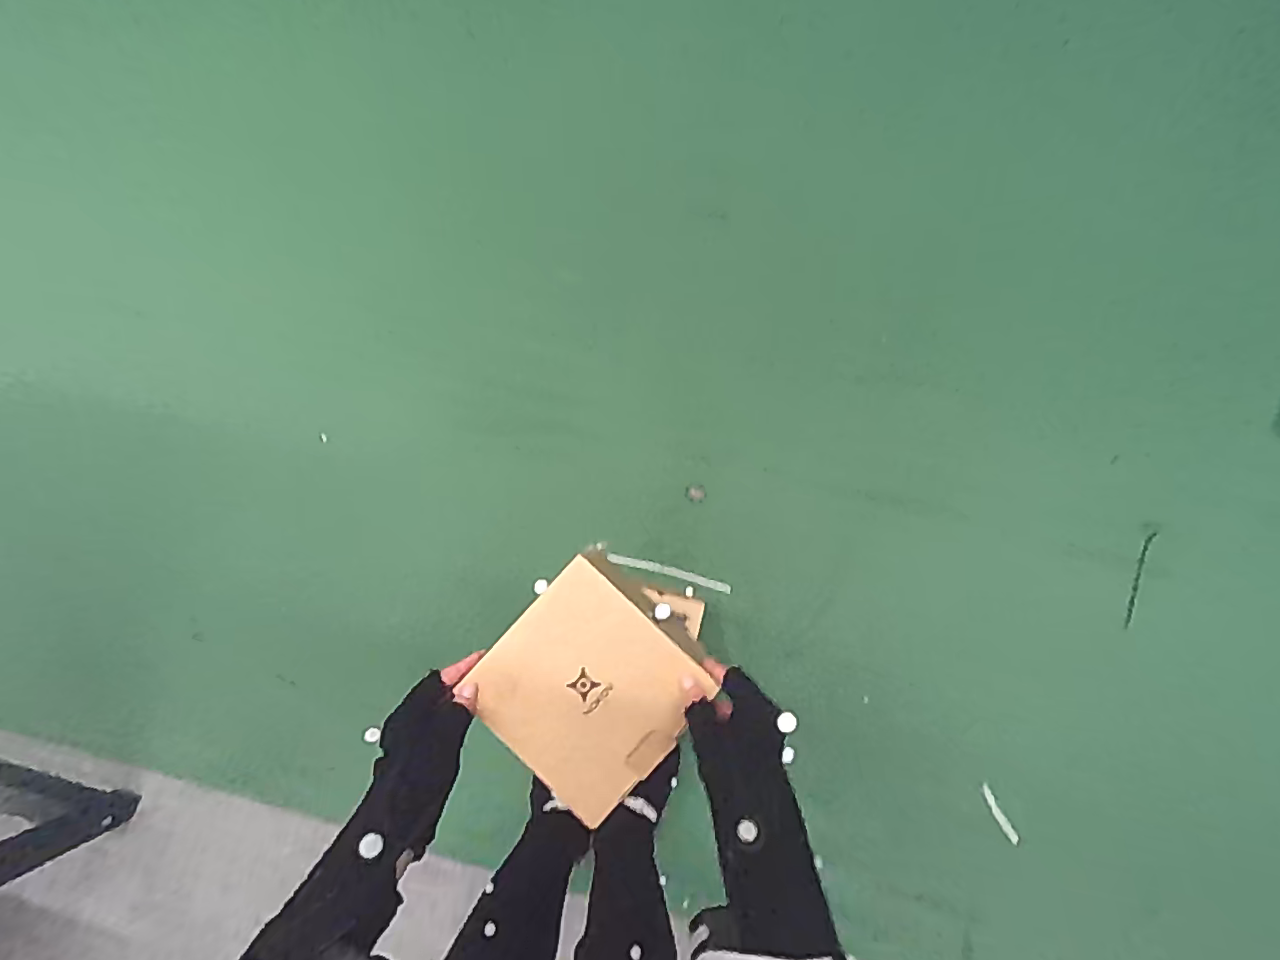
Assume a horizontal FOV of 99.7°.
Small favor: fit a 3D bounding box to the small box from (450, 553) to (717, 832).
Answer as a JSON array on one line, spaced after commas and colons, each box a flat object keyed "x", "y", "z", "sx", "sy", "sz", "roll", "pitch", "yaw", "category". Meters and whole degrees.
[{"x": -0.051, "y": 0.192, "z": 0.547, "sx": 0.179, "sy": 0.176, "sz": 0.168, "roll": 44, "pitch": 85, "yaw": 4, "category": "small box"}]
